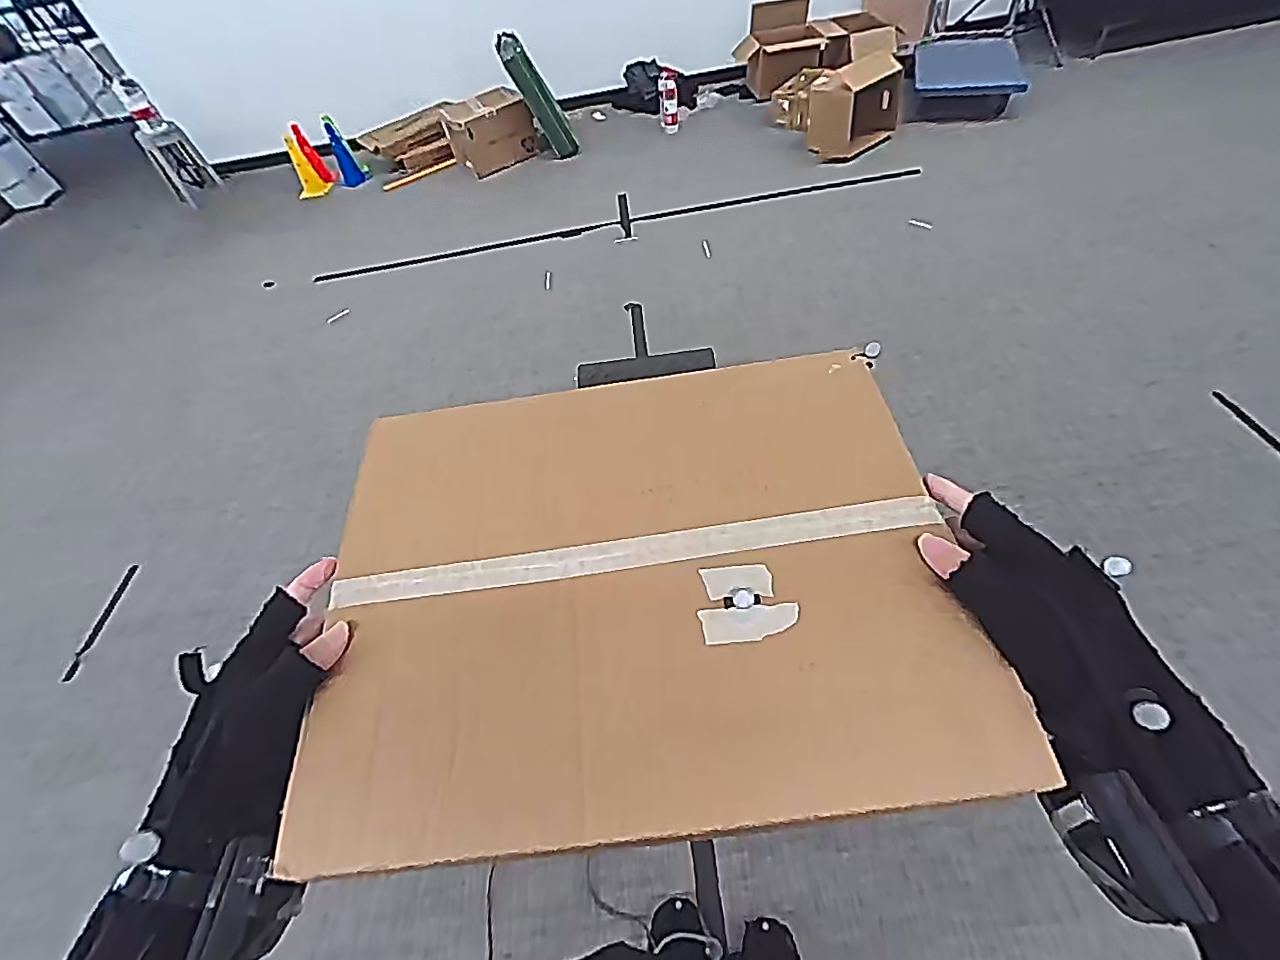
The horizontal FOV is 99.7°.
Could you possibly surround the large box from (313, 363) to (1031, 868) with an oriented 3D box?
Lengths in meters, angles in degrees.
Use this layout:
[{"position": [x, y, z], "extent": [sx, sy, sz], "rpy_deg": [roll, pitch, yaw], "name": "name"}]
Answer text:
[{"position": [0.012, 0.137, 0.496], "extent": [0.408, 0.320, 0.320], "rpy_deg": [-8, 57, 1], "name": "large box"}]
